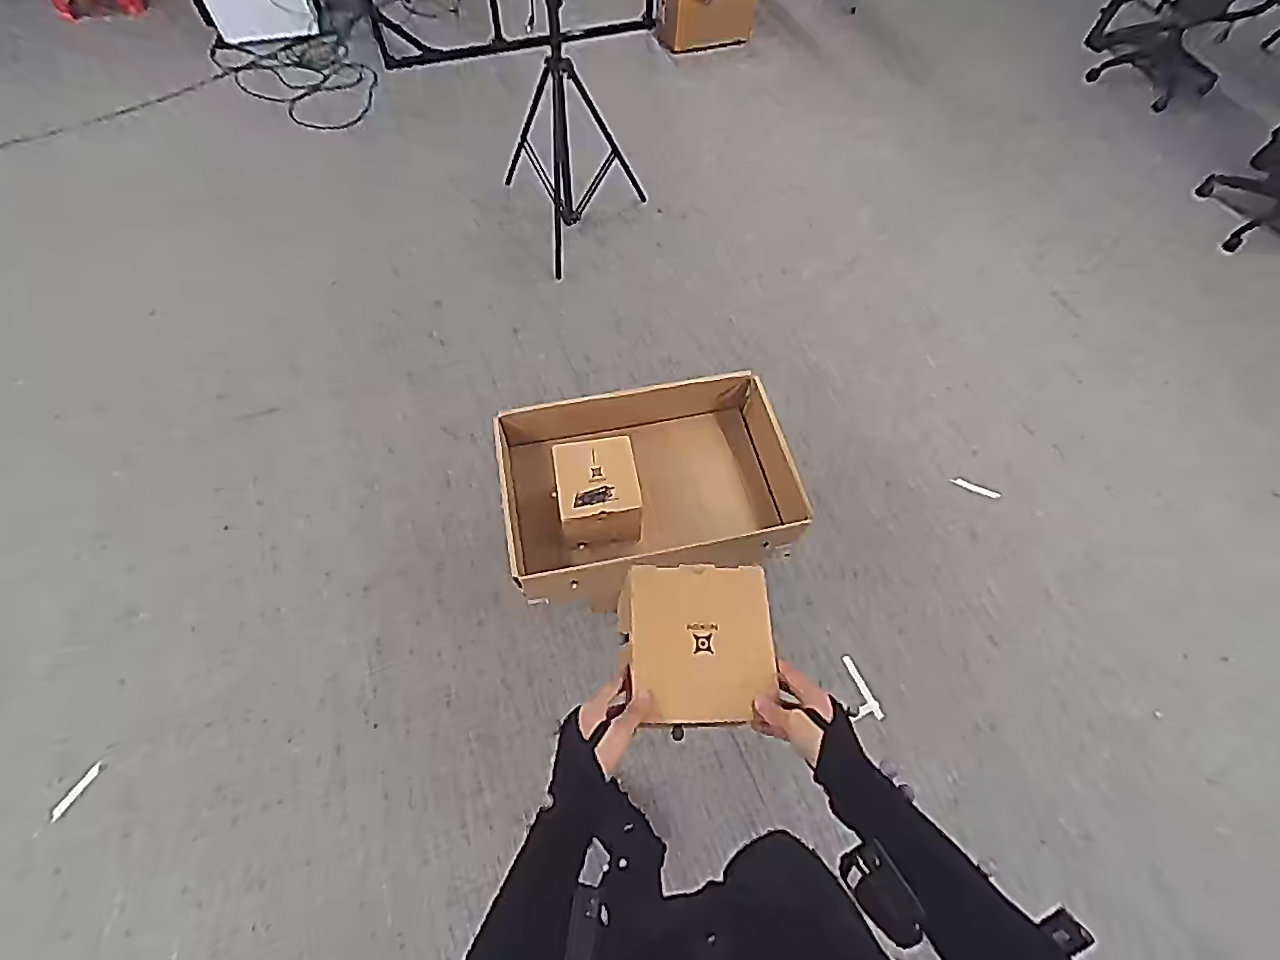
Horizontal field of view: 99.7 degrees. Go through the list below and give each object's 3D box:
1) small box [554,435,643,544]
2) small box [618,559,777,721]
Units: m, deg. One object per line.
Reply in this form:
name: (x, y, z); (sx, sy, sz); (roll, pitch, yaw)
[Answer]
small box: (-0.088, 0.028, 1.163); (0.168, 0.176, 0.179); (-8, 63, -7)
small box: (0.060, 0.209, 0.687); (0.168, 0.176, 0.179); (1, 63, -6)
